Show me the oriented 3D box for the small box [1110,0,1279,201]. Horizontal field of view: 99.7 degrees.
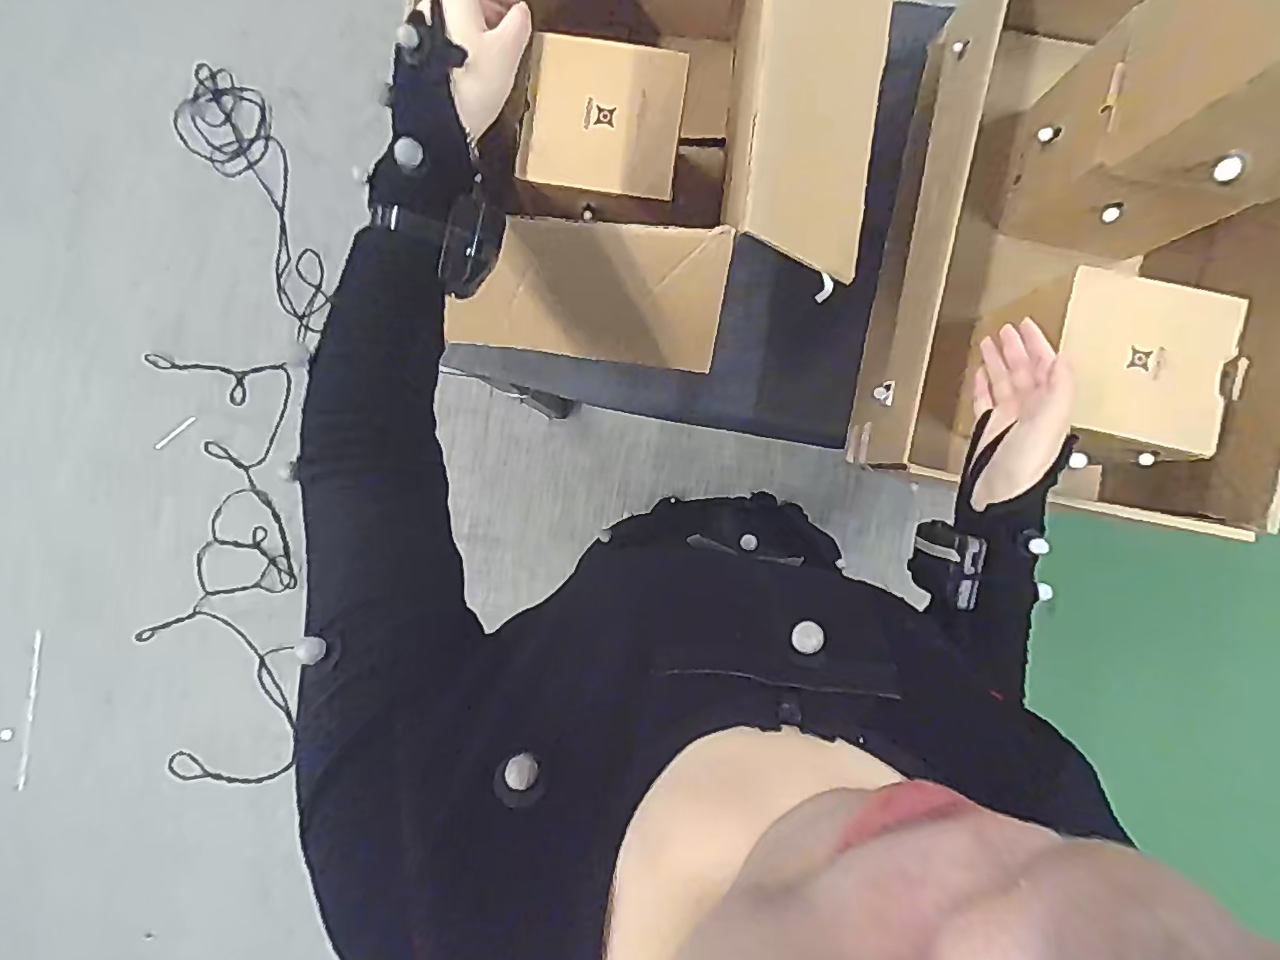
[{"bbox_3d":[0.559,-0.375,0.459,0.168,0.176,0.179,12,93,2],"label":"small box"}]
